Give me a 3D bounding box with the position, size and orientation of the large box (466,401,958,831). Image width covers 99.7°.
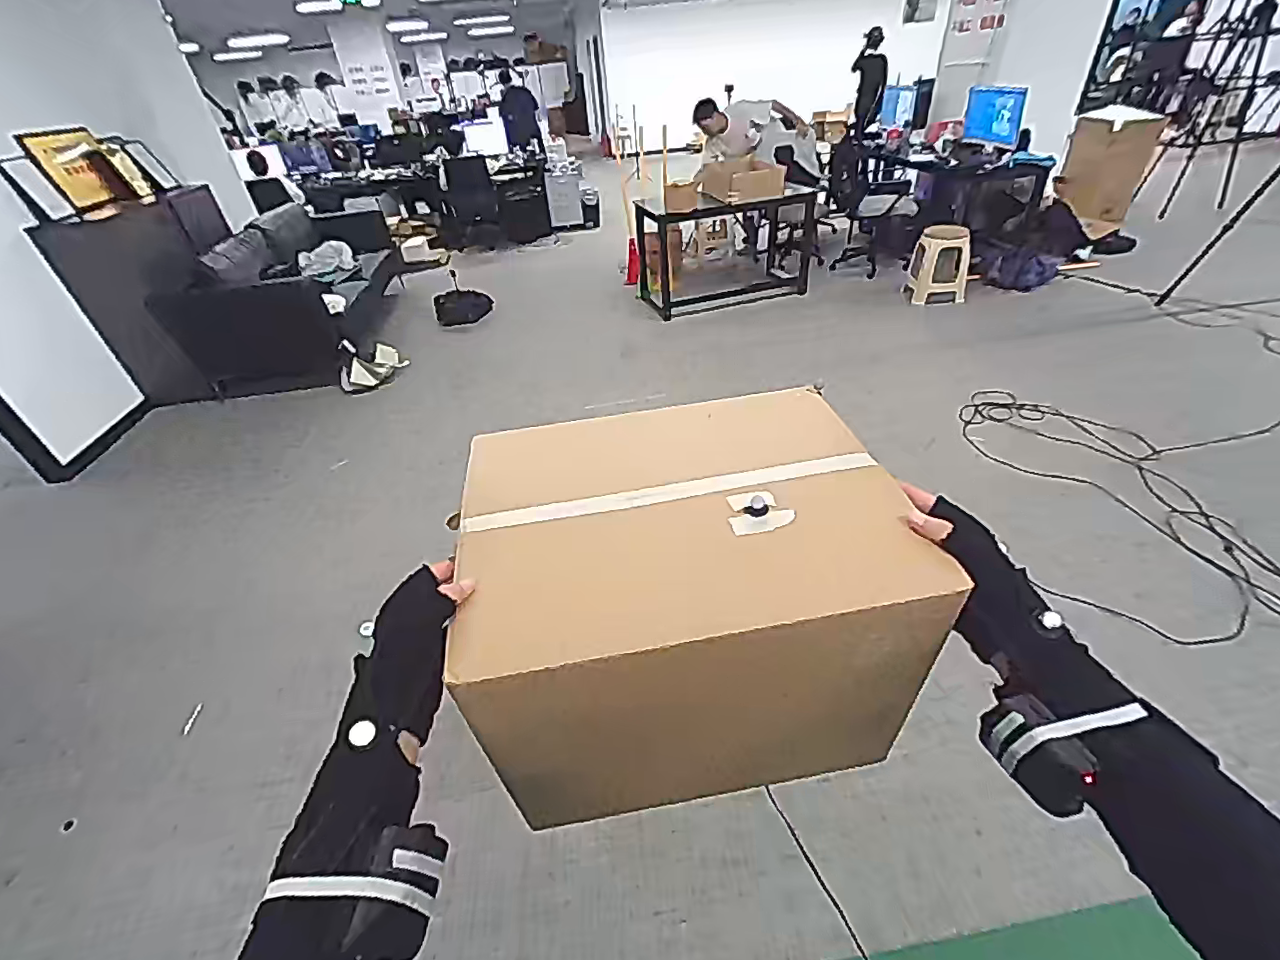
[{"bbox_3d":[0.047,0.142,0.622,0.408,0.320,0.320,-9,40,-5],"label":"large box"}]
